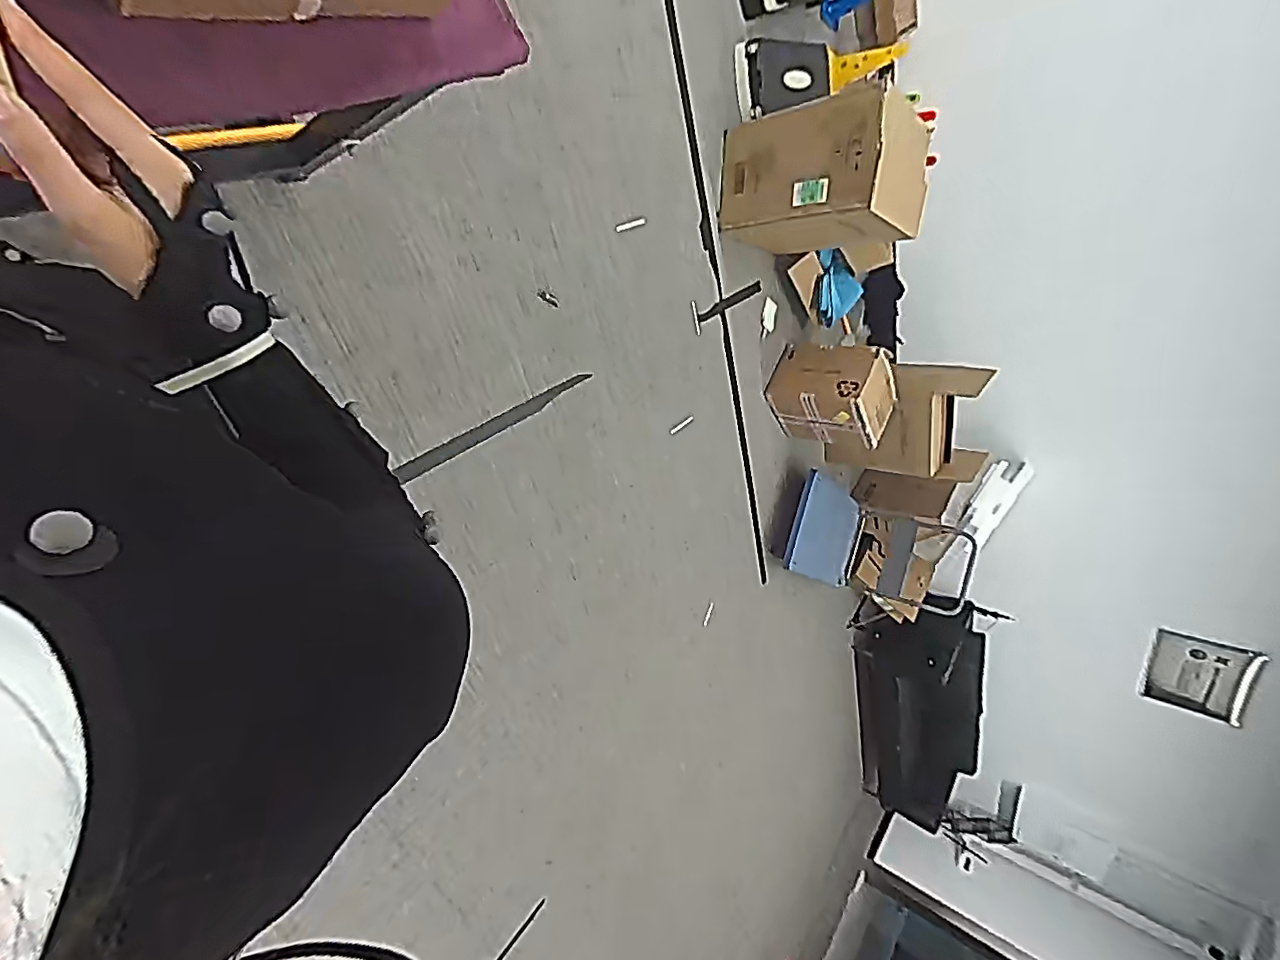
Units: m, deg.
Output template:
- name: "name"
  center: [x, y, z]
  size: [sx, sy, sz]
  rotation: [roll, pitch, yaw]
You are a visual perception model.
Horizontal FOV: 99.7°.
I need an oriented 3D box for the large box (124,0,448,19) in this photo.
- name: "large box"
  center: [-0.267, -0.600, 0.340]
  size: [0.320, 0.320, 0.408]
  rotation: [-39, 125, -37]
